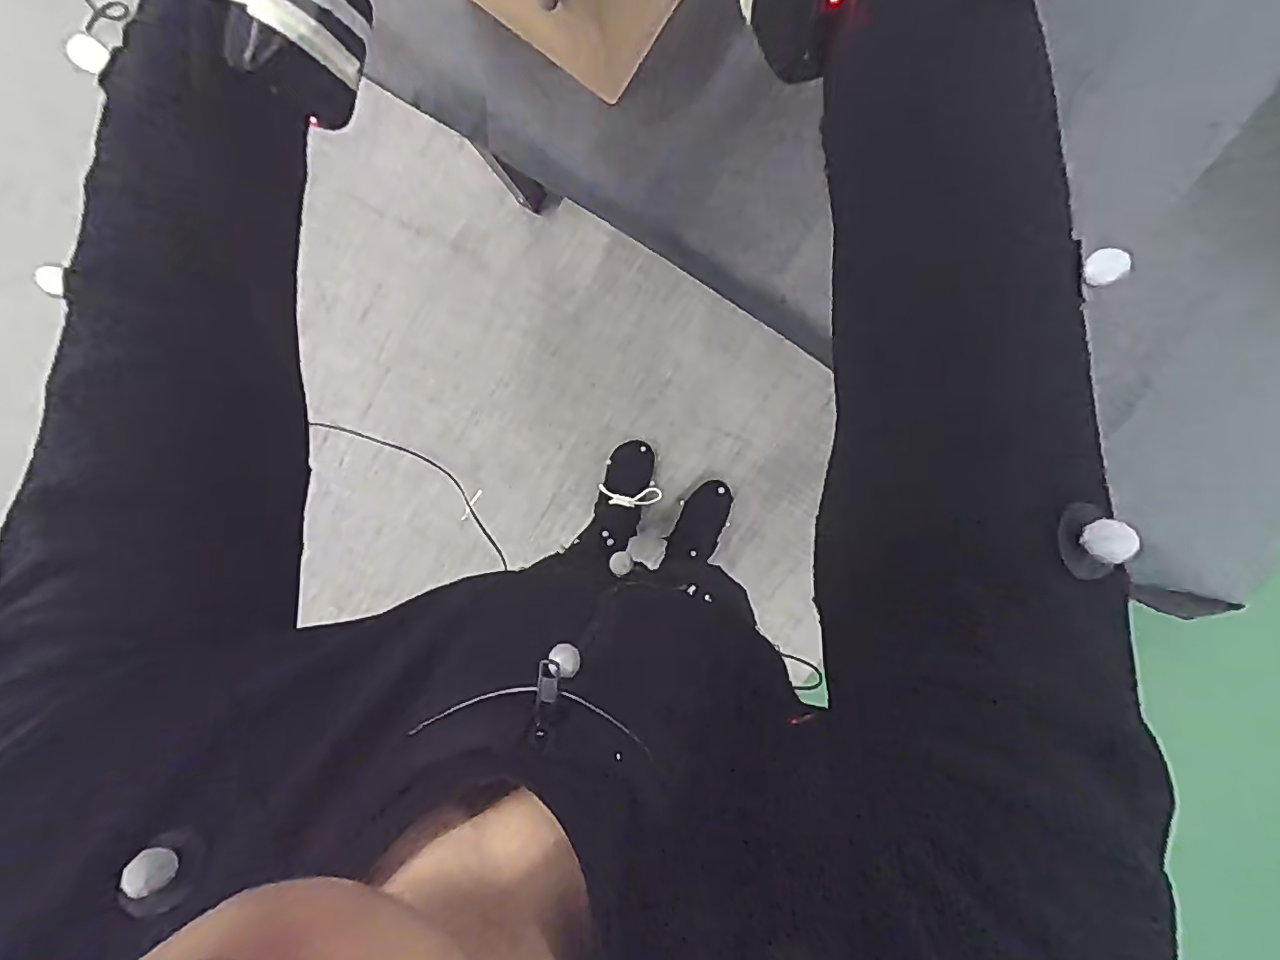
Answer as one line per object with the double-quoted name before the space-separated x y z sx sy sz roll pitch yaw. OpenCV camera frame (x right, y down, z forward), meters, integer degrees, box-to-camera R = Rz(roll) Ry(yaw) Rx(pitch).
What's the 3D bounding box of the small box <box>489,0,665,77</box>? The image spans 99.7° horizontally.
"small box" -0.050 -0.472 0.428 0.179 0.176 0.168 34 98 -6
